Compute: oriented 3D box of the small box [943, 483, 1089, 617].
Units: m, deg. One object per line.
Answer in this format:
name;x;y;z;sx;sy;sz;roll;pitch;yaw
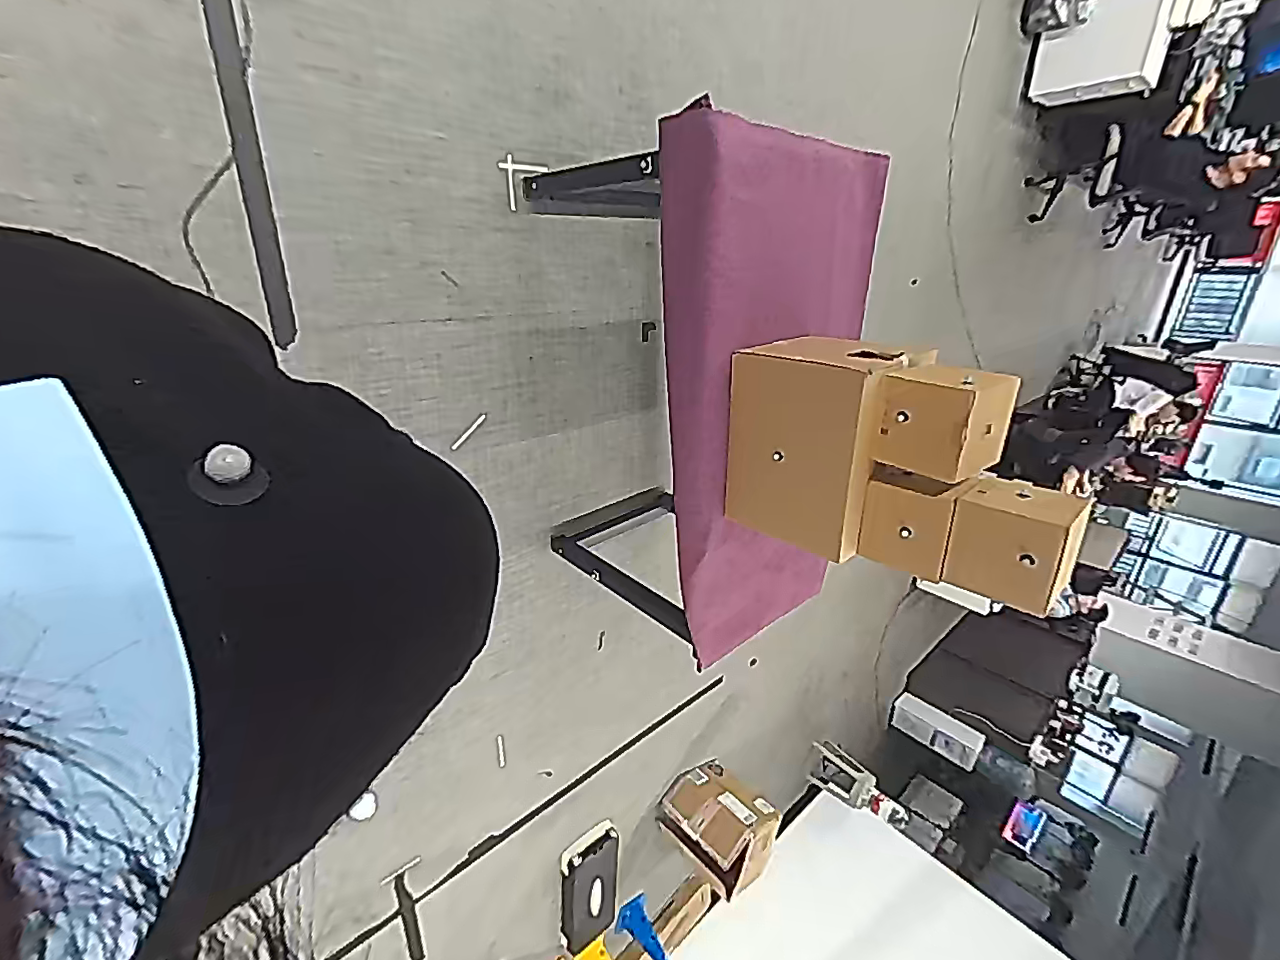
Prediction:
small box;0.680;0.114;0.990;0.168;0.176;0.179;-18;118;-38
